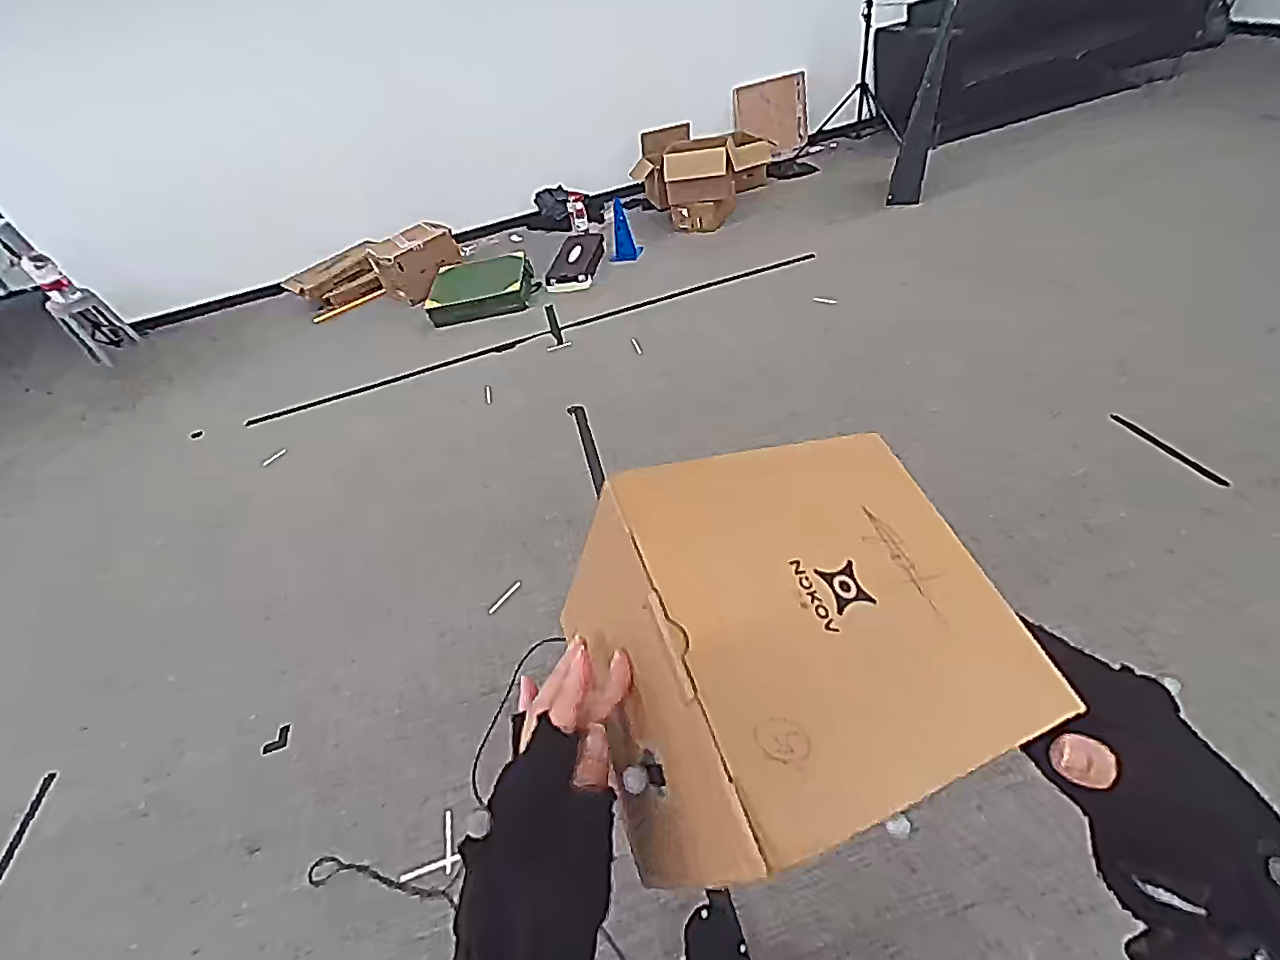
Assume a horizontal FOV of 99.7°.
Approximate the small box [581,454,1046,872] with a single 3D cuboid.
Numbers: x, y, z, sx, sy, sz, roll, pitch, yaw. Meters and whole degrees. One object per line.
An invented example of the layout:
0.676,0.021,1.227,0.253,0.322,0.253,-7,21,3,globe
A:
0.070,0.108,0.325,0.179,0.176,0.168,-9,56,-23,small box
